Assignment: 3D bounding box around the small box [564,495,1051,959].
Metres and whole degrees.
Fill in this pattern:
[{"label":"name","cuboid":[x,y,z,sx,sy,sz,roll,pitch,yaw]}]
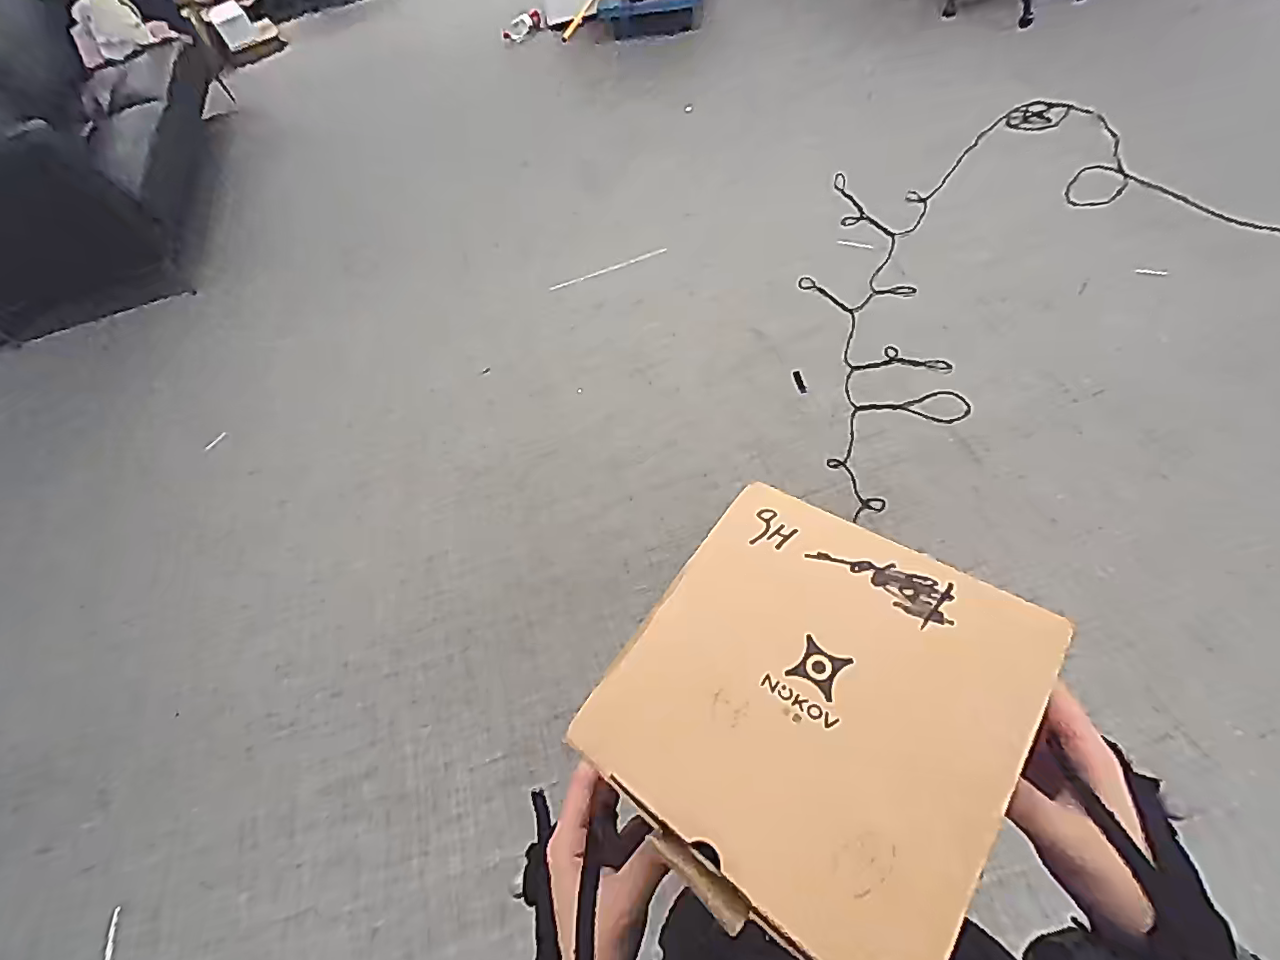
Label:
[{"label":"small box","cuboid":[0.092,0.147,0.317,0.168,0.176,0.179,27,66,31]}]
